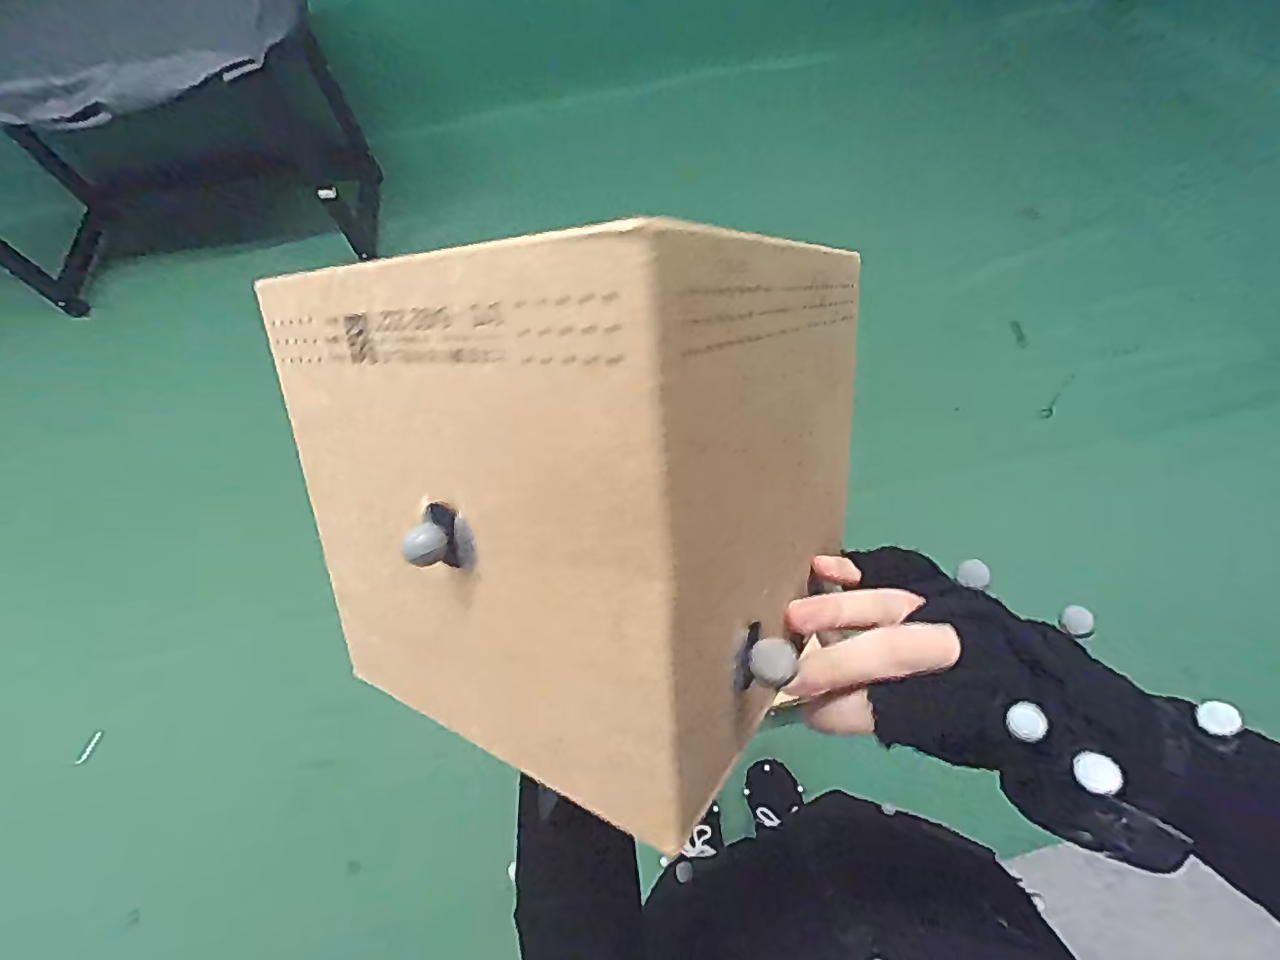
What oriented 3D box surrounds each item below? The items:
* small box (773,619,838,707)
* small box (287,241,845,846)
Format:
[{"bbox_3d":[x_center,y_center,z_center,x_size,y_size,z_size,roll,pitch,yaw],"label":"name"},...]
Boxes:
[{"bbox_3d":[0.341,0.430,1.274,0.168,0.176,0.179,-12,62,-2],"label":"small box"},{"bbox_3d":[-0.014,-0.005,0.237,0.168,0.176,0.179,8,20,30],"label":"small box"}]
